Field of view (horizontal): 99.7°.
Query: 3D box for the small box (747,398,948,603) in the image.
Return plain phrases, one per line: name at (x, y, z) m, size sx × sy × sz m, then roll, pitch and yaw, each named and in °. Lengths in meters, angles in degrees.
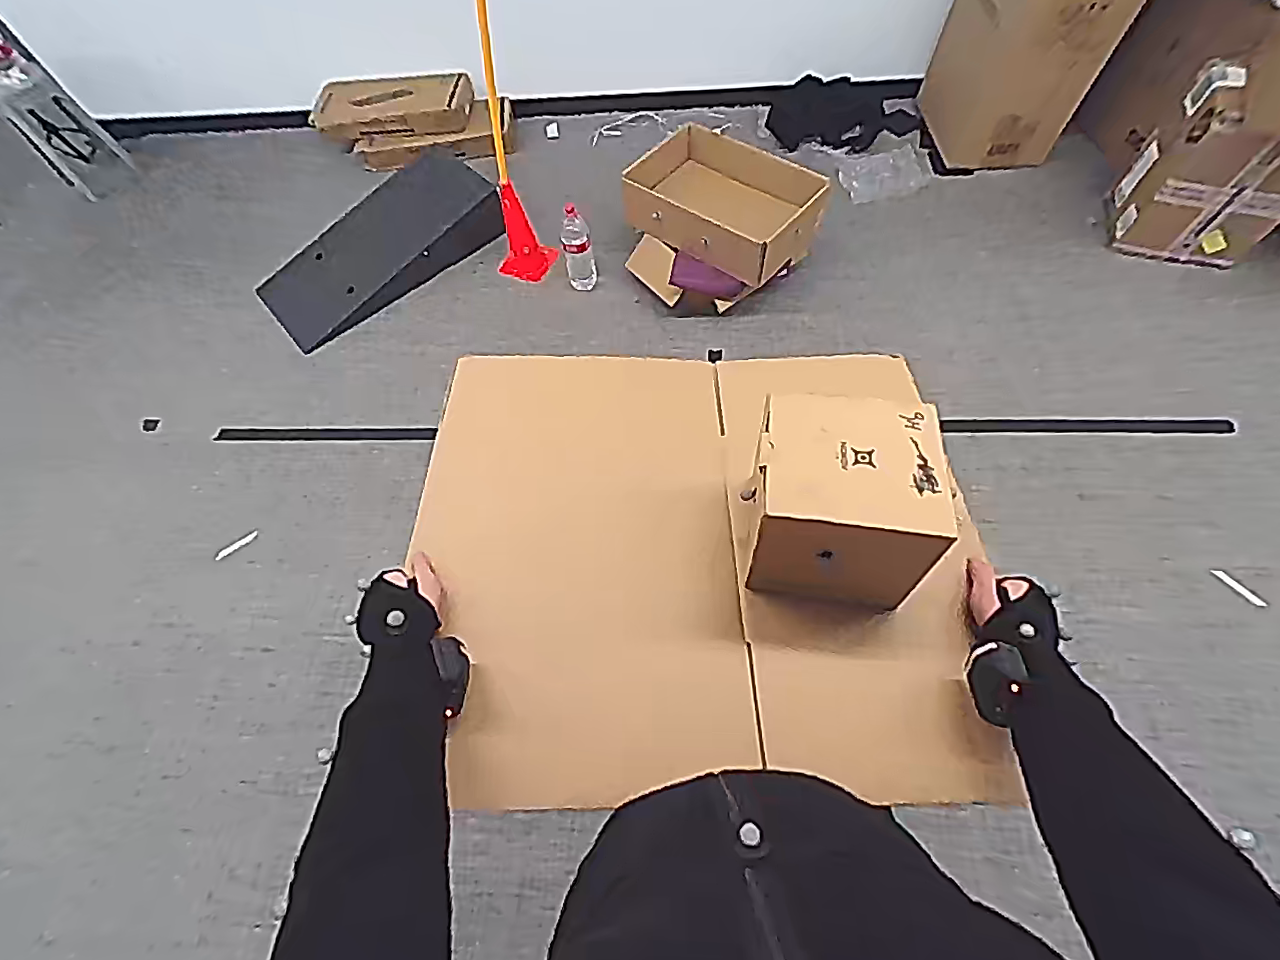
small box at (0.218, 0.028, 0.616) m, size 0.179 × 0.176 × 0.168 m, roll 6°, pitch 56°, yaw 9°
